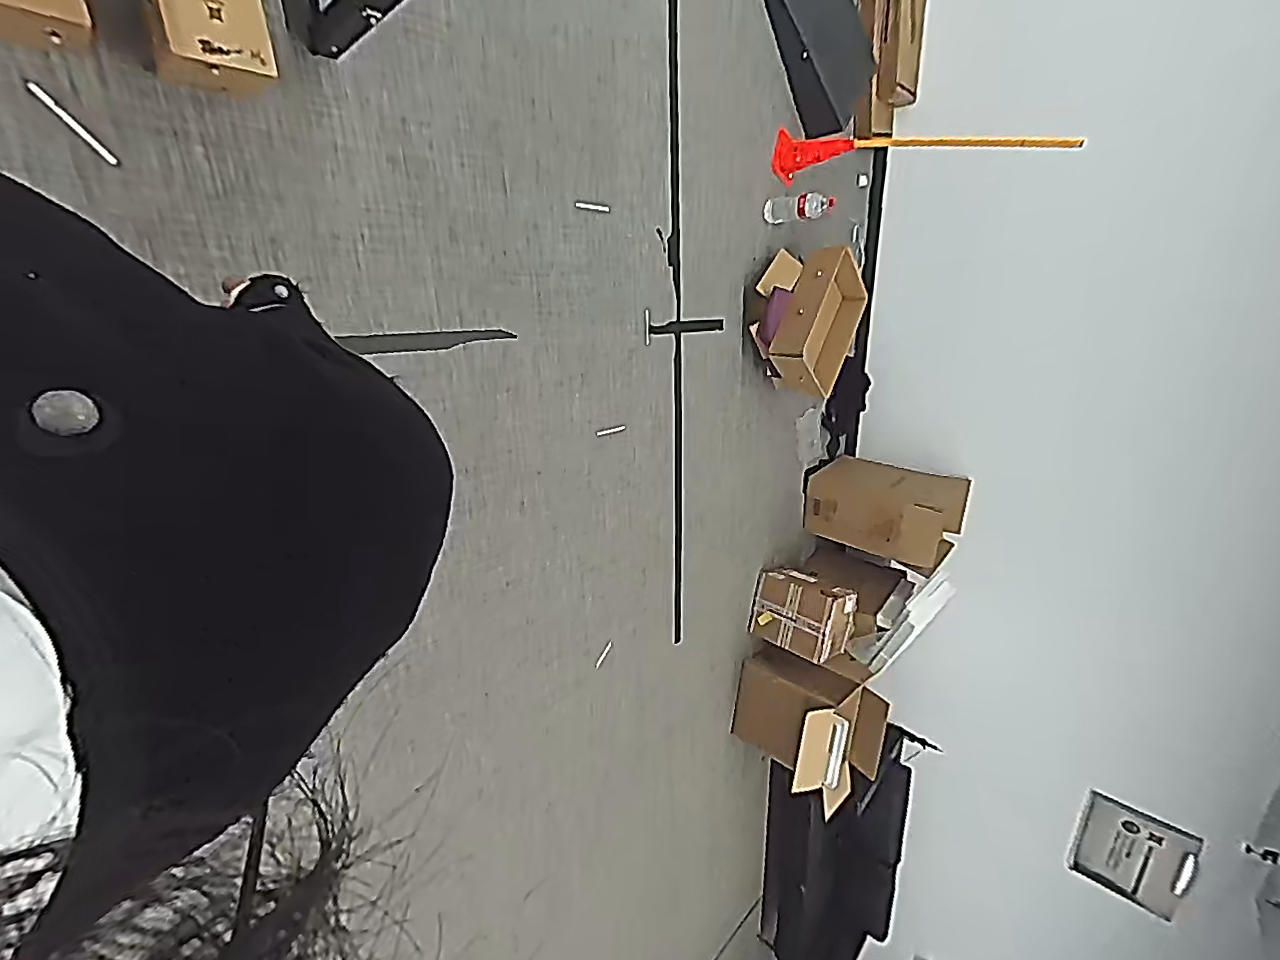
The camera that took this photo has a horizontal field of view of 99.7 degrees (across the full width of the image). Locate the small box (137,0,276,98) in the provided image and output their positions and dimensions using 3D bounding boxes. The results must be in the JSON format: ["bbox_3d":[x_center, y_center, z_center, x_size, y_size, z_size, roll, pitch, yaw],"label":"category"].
[{"bbox_3d":[-0.824,-0.862,1.023,0.168,0.176,0.179,-20,116,-42],"label":"small box"}]

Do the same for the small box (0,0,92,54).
[{"bbox_3d":[-1.006,-0.803,0.843,0.179,0.176,0.168,-20,115,-43],"label":"small box"}]
